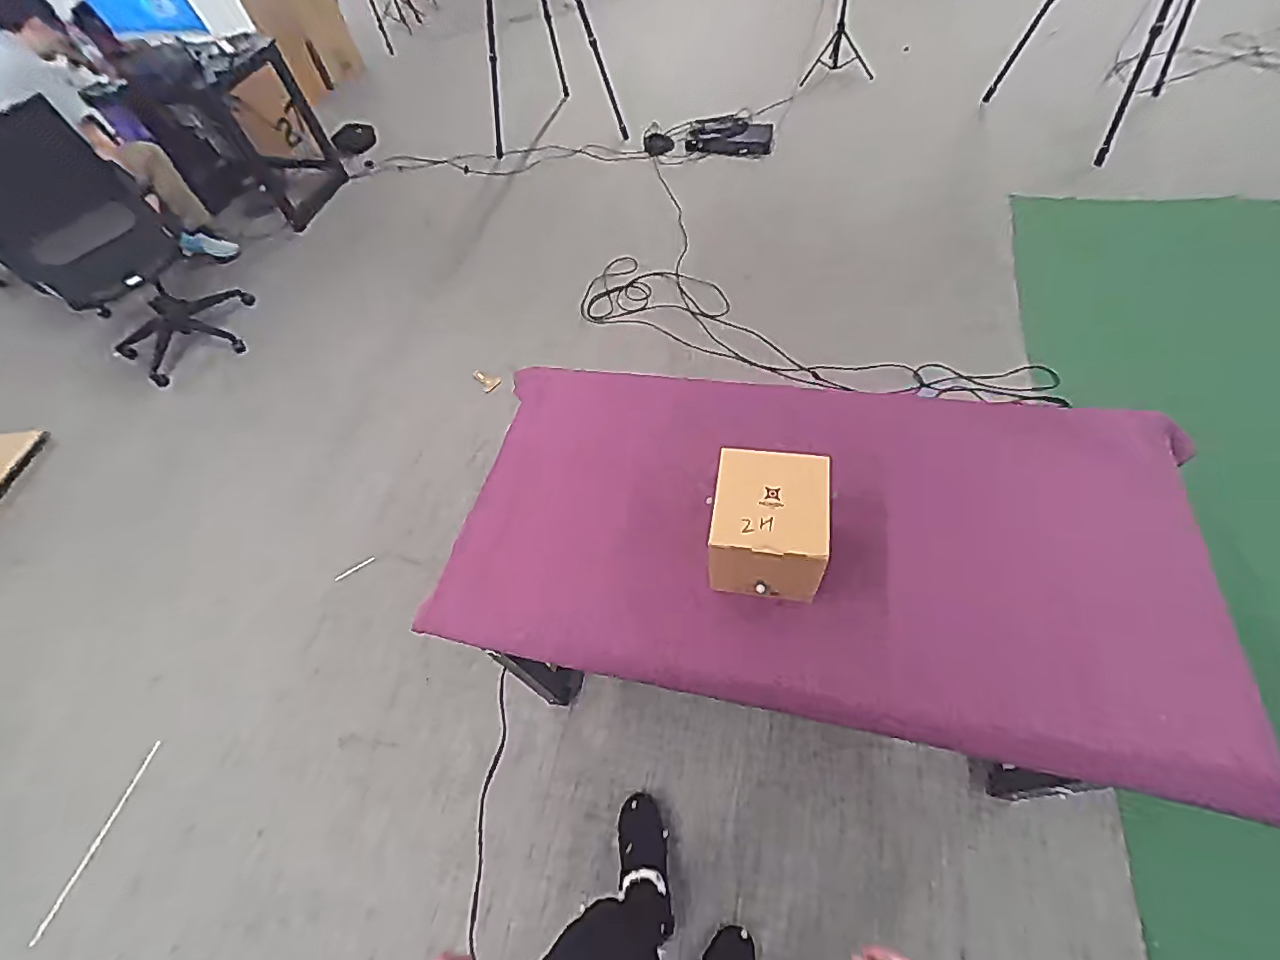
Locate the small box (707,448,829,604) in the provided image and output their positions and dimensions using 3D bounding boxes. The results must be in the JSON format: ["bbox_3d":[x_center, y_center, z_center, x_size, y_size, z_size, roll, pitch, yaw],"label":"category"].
[{"bbox_3d":[0.199,0.074,0.856,0.168,0.176,0.179,6,57,12],"label":"small box"}]
